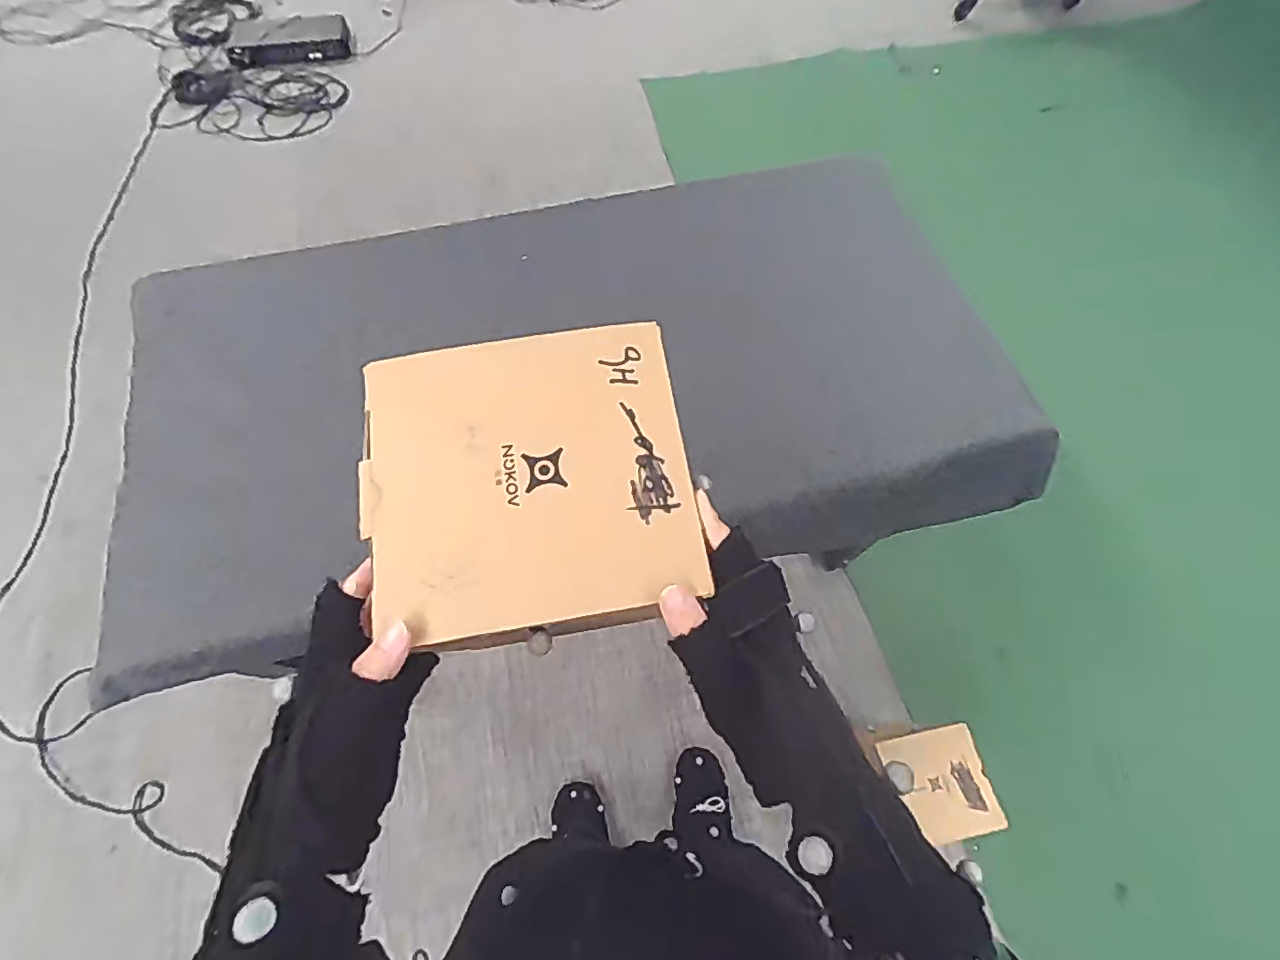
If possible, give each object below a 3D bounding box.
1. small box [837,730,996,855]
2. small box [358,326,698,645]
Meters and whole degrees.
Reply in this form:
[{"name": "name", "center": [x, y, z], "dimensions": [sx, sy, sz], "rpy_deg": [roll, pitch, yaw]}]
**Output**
[{"name": "small box", "center": [0.494, 0.563, 0.996], "dimensions": [0.179, 0.176, 0.168], "rpy_deg": [-9, 64, -5]}, {"name": "small box", "center": [-0.065, 0.019, 0.373], "dimensions": [0.179, 0.176, 0.168], "rpy_deg": [-7, 73, -4]}]
